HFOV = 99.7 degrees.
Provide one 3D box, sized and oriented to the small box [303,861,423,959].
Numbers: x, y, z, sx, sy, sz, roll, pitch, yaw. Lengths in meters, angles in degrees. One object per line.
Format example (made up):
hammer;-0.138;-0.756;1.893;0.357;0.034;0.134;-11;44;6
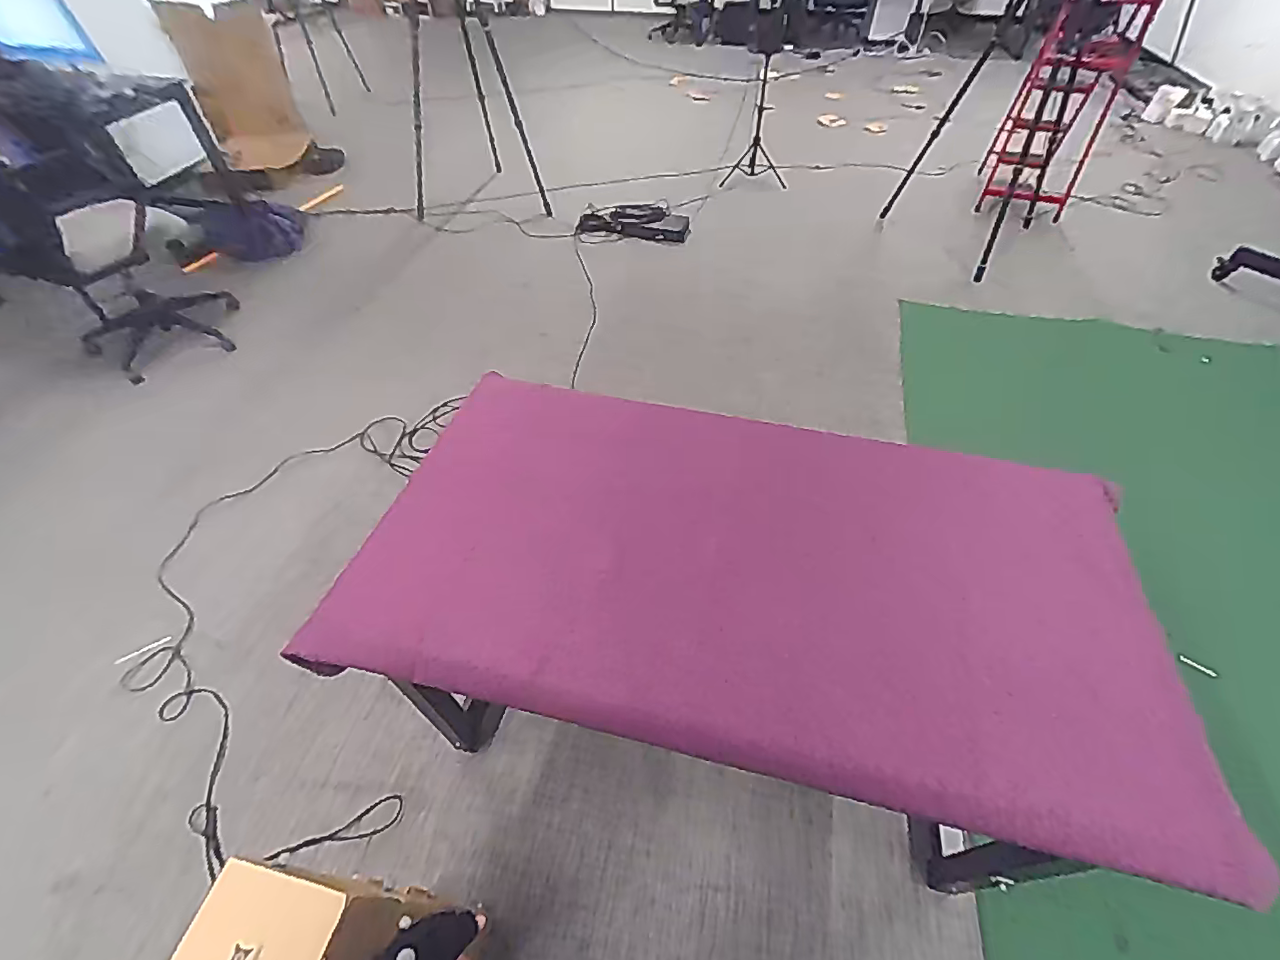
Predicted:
small box;-0.449;0.700;0.805;0.168;0.176;0.179;10;52;9

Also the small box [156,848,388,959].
small box;-0.461;0.592;0.682;0.179;0.176;0.168;11;52;9
